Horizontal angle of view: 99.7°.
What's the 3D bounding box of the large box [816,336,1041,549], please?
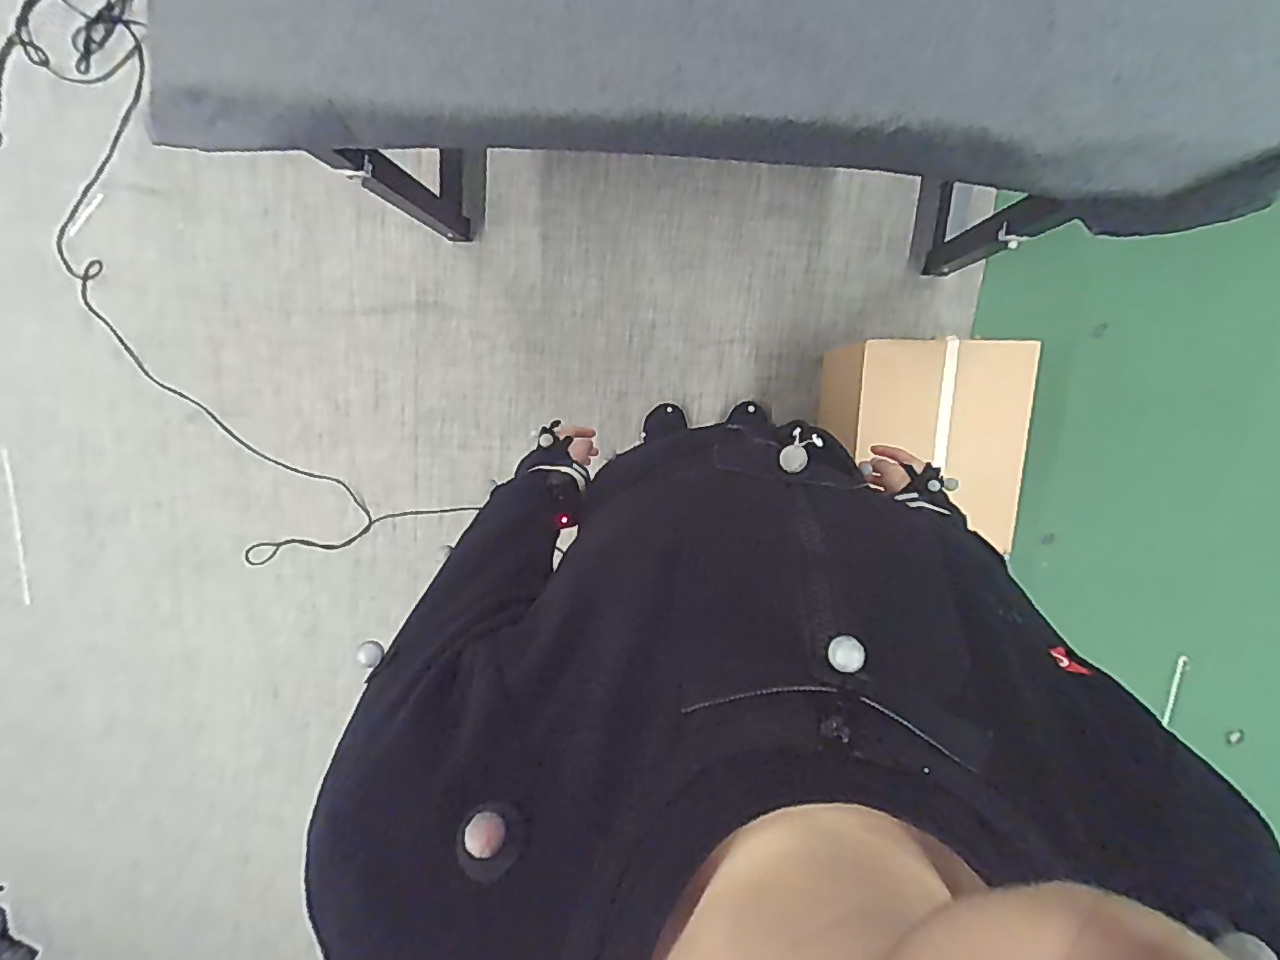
[{"bbox_3d":[0.579,-0.093,1.161,0.320,0.320,0.408,2,101,5],"label":"large box"}]
